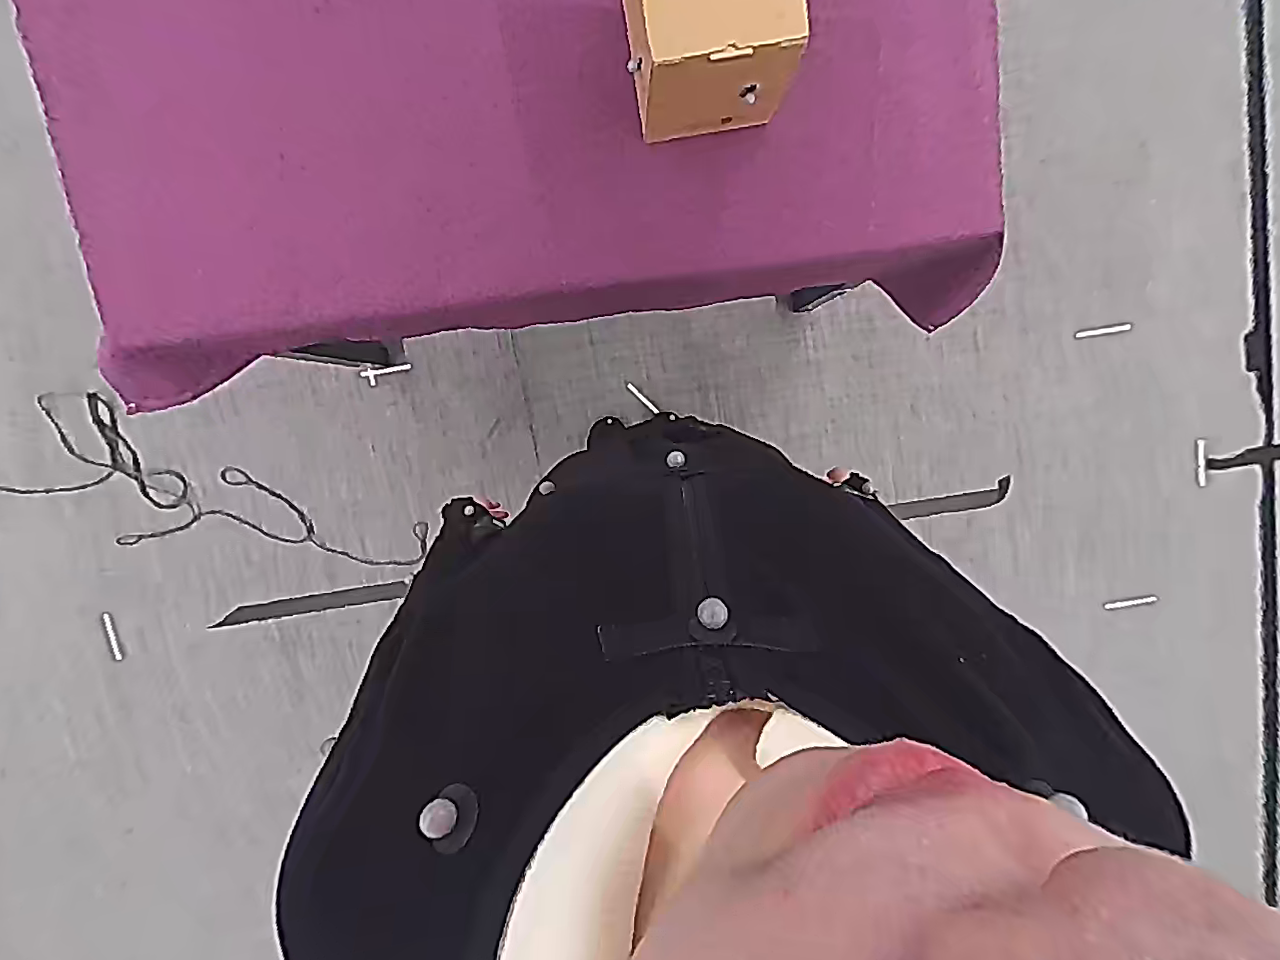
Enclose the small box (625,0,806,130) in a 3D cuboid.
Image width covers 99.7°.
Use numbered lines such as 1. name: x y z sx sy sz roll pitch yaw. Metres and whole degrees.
1. small box: 0.074 -0.528 0.612 0.168 0.176 0.179 -9 98 -1
